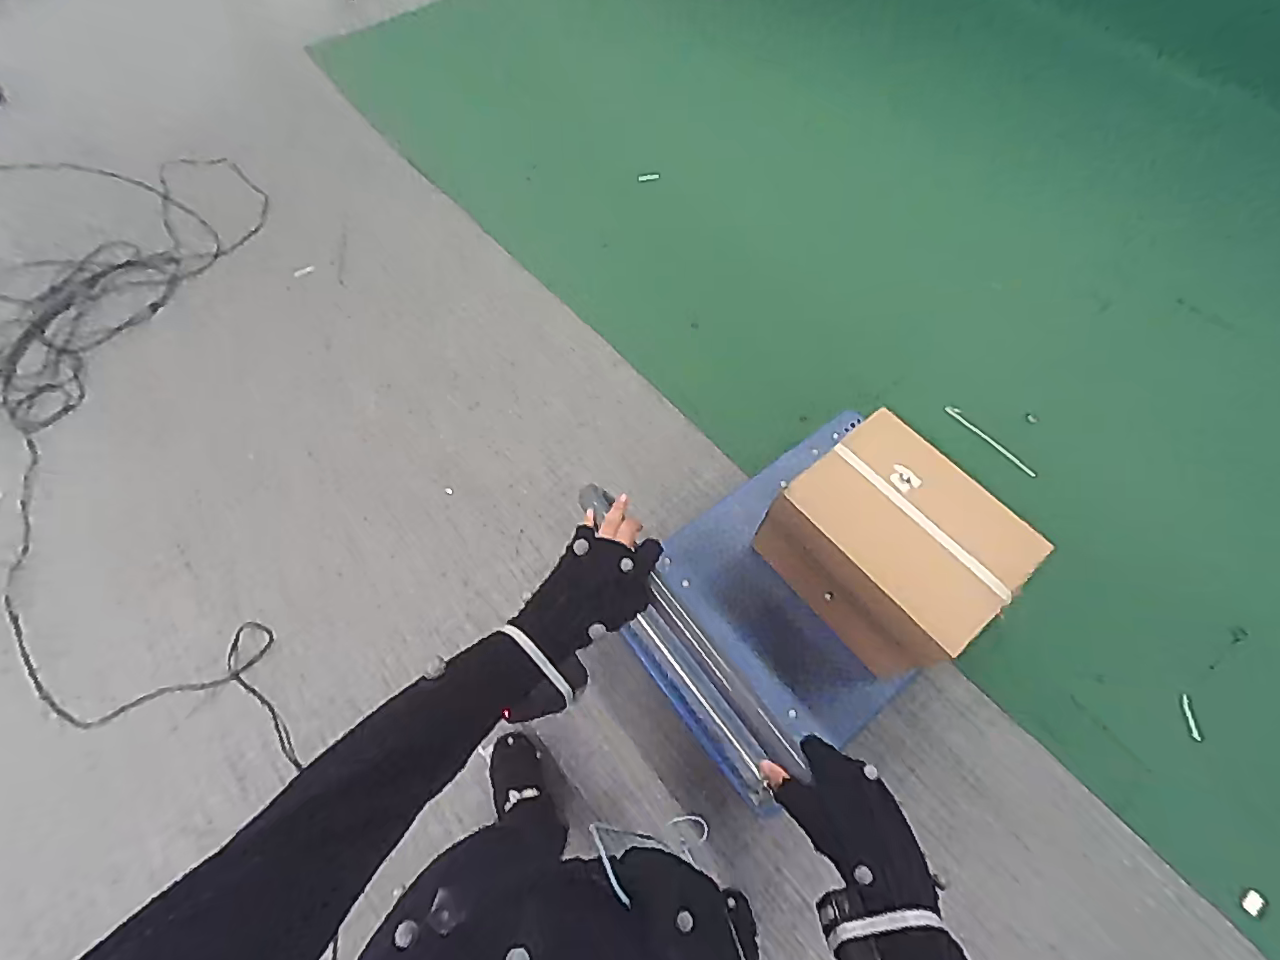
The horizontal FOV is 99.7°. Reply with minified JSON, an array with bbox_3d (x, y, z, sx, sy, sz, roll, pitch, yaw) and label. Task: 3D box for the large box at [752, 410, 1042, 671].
[{"bbox_3d":[0.511,0.137,1.163,0.320,0.320,0.408,-37,69,-18],"label":"large box"}]
